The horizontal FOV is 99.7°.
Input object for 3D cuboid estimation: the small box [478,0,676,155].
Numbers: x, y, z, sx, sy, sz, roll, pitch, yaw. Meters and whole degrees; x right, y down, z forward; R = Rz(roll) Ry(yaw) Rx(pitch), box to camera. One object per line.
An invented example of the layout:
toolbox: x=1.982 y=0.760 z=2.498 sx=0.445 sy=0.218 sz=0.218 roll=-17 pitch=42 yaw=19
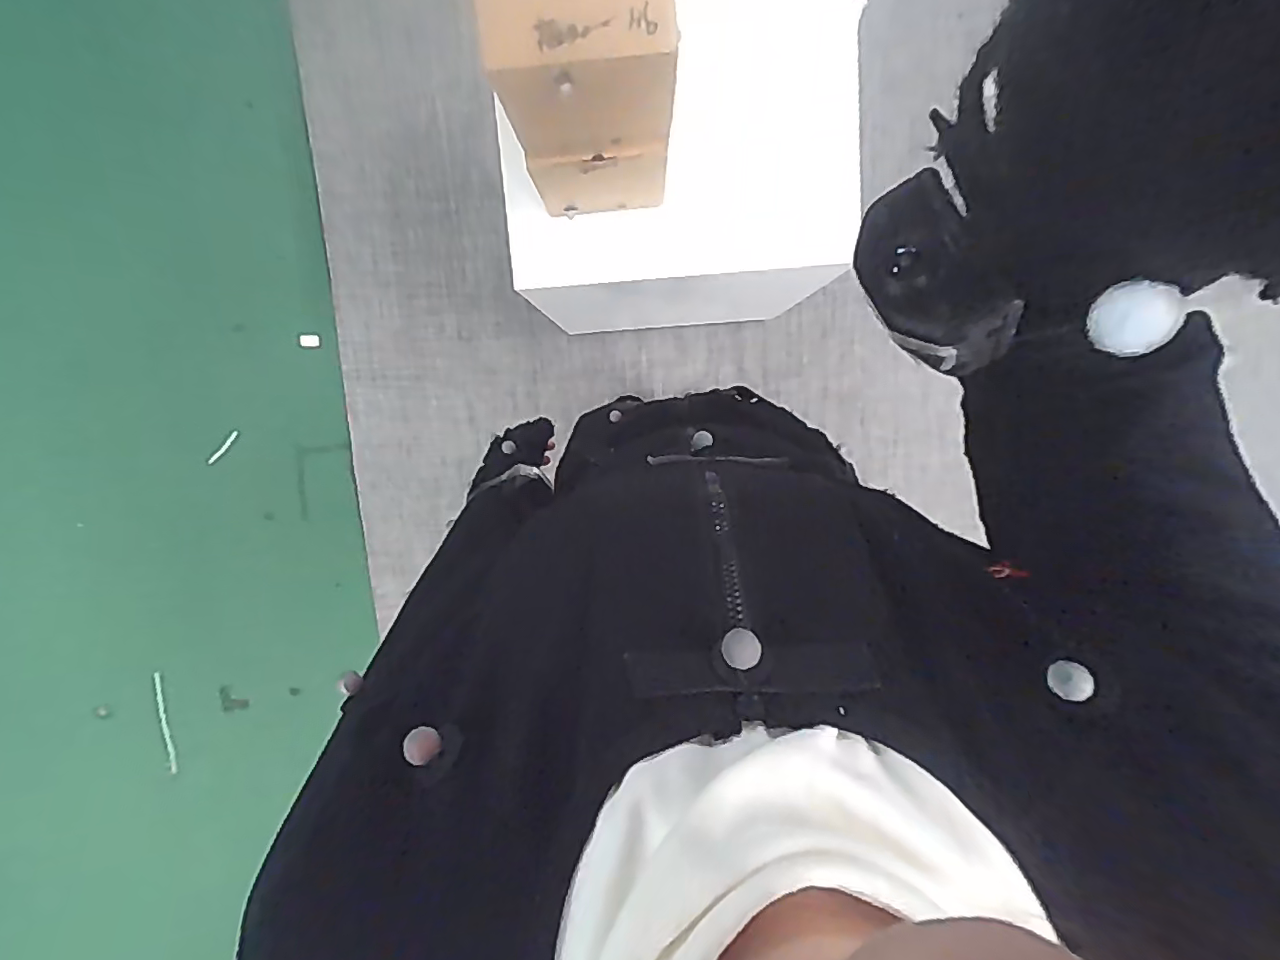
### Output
small box: x=-0.057 y=-0.451 z=0.524 sx=0.168 sy=0.176 sz=0.179 roll=-5 pitch=98 yaw=1

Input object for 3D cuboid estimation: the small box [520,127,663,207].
small box: x=-0.057 y=-0.465 z=0.687 sx=0.168 sy=0.176 sz=0.179 roll=-5 pitch=98 yaw=1
